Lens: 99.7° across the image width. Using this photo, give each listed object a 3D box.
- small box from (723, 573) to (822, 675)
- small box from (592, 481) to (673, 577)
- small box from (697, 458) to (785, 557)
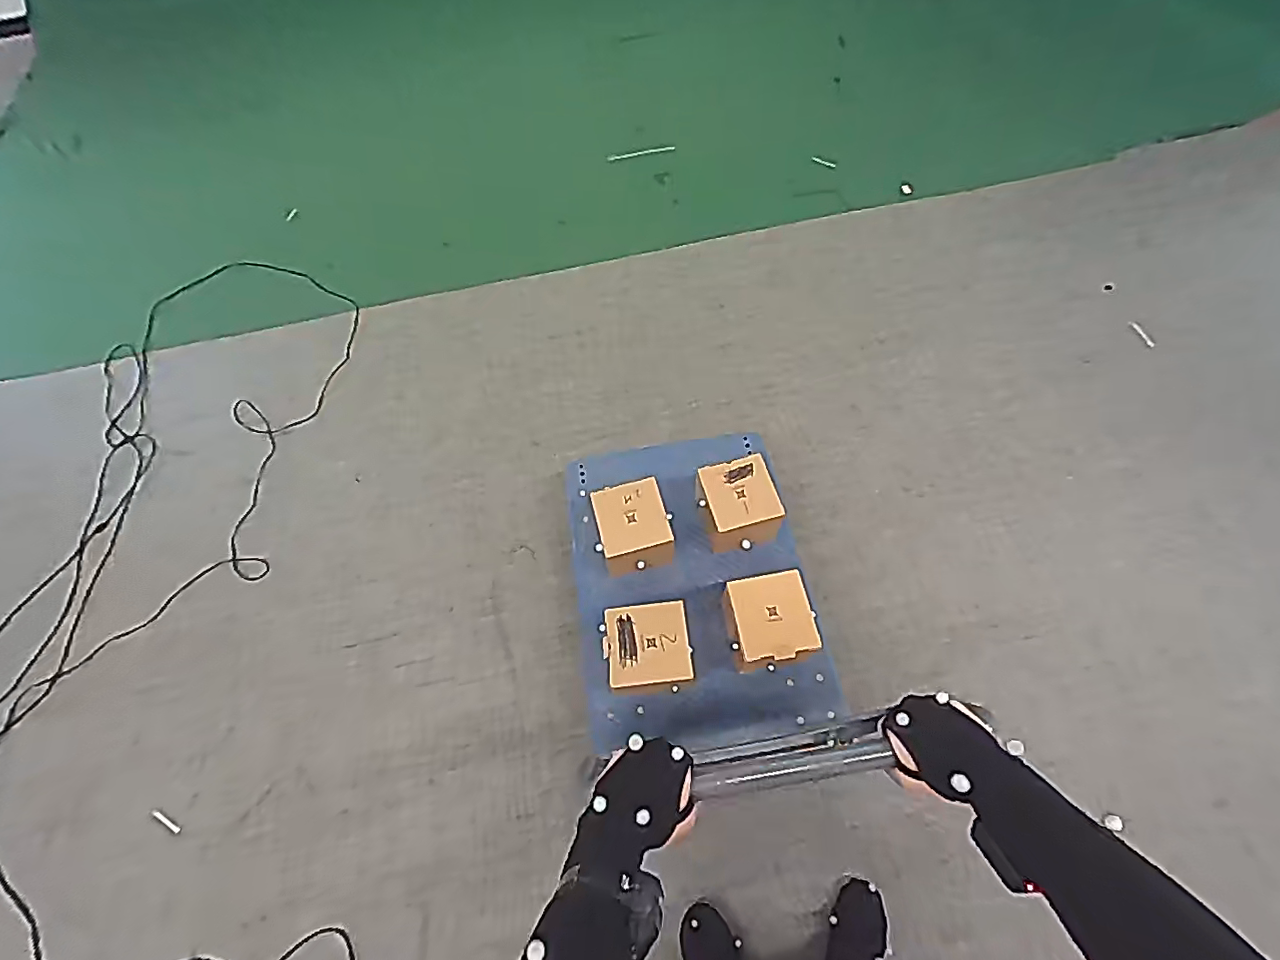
[{"bbox_3d":[0.291,0.332,1.233,0.168,0.176,0.179,-10,63,-2],"label":"small box"},{"bbox_3d":[-0.016,0.131,1.354,0.168,0.176,0.179,-14,62,-5],"label":"small box"},{"bbox_3d":[0.247,0.073,1.370,0.168,0.176,0.179,-14,63,-4],"label":"small box"}]
